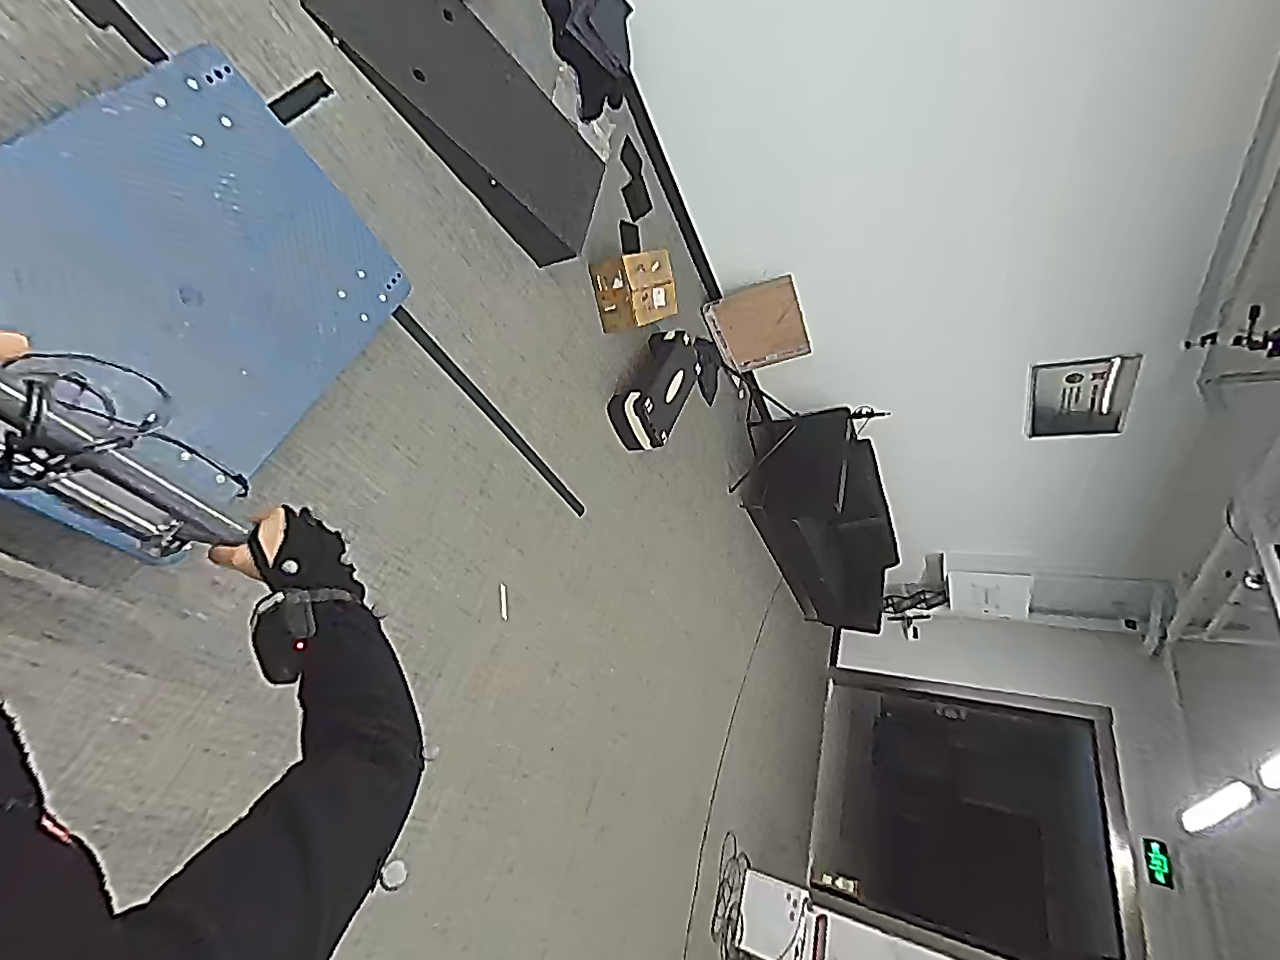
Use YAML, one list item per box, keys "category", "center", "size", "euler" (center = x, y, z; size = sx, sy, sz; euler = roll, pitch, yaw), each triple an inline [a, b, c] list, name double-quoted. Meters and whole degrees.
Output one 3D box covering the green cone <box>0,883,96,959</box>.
- category: "green cone"
  center: [-0.934, 0.806, 0.816]
  size: [0.200, 0.368, 0.202]
  euler: [39, 58, -52]
